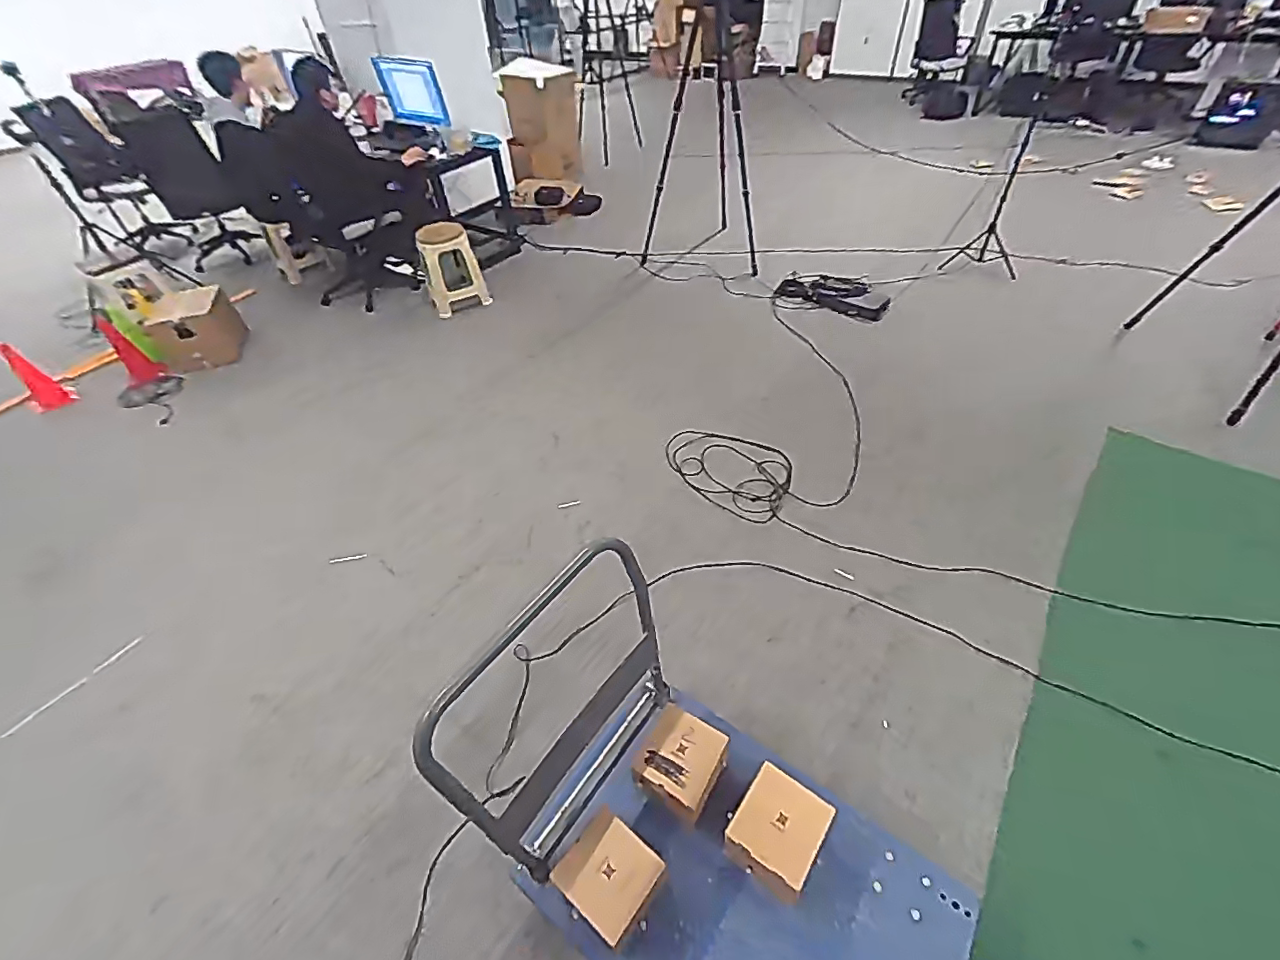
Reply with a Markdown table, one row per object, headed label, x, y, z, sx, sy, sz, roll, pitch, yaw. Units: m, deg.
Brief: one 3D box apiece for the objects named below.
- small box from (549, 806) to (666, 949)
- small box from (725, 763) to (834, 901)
| label | x | y | z | sx | sy | sz | roll | pitch | yaw |
| --- | --- | --- | --- | --- | --- | --- | --- | --- | --- |
| small box | -0.062 | 0.835 | 1.132 | 0.179 | 0.176 | 0.168 | 29 | 54 | 28 |
| small box | 0.295 | 0.765 | 1.174 | 0.168 | 0.176 | 0.179 | 26 | 54 | 27 |
